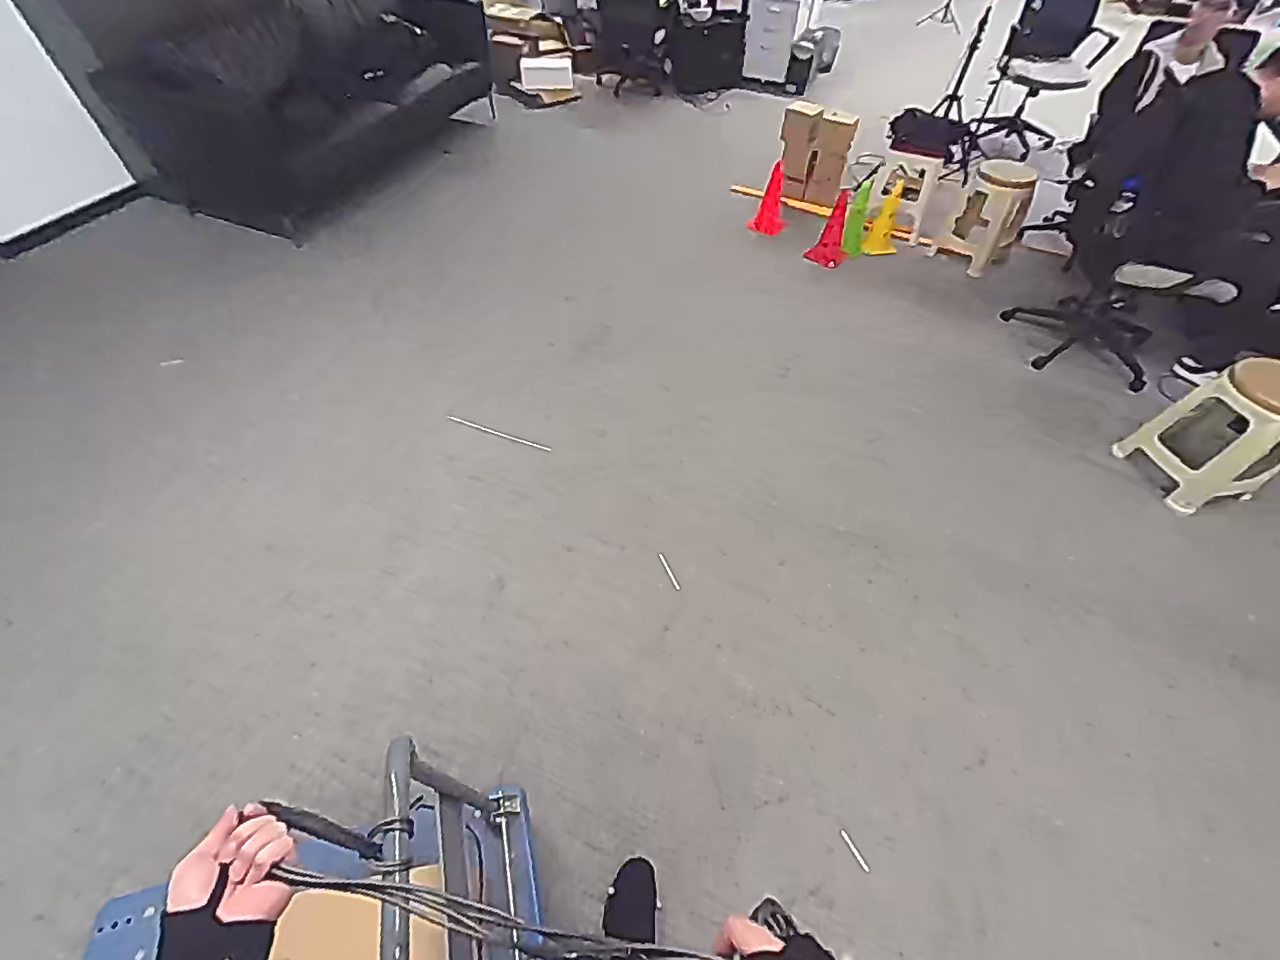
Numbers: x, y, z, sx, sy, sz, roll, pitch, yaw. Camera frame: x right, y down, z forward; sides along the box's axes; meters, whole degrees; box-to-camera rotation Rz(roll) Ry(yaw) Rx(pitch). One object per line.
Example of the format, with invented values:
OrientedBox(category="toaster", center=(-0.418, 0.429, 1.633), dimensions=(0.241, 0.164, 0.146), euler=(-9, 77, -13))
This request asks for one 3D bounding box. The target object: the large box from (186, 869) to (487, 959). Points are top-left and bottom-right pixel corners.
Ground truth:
OrientedBox(category="large box", center=(-0.484, 0.890, 0.908), dimensions=(0.408, 0.320, 0.320), euler=(-8, 52, -7))
